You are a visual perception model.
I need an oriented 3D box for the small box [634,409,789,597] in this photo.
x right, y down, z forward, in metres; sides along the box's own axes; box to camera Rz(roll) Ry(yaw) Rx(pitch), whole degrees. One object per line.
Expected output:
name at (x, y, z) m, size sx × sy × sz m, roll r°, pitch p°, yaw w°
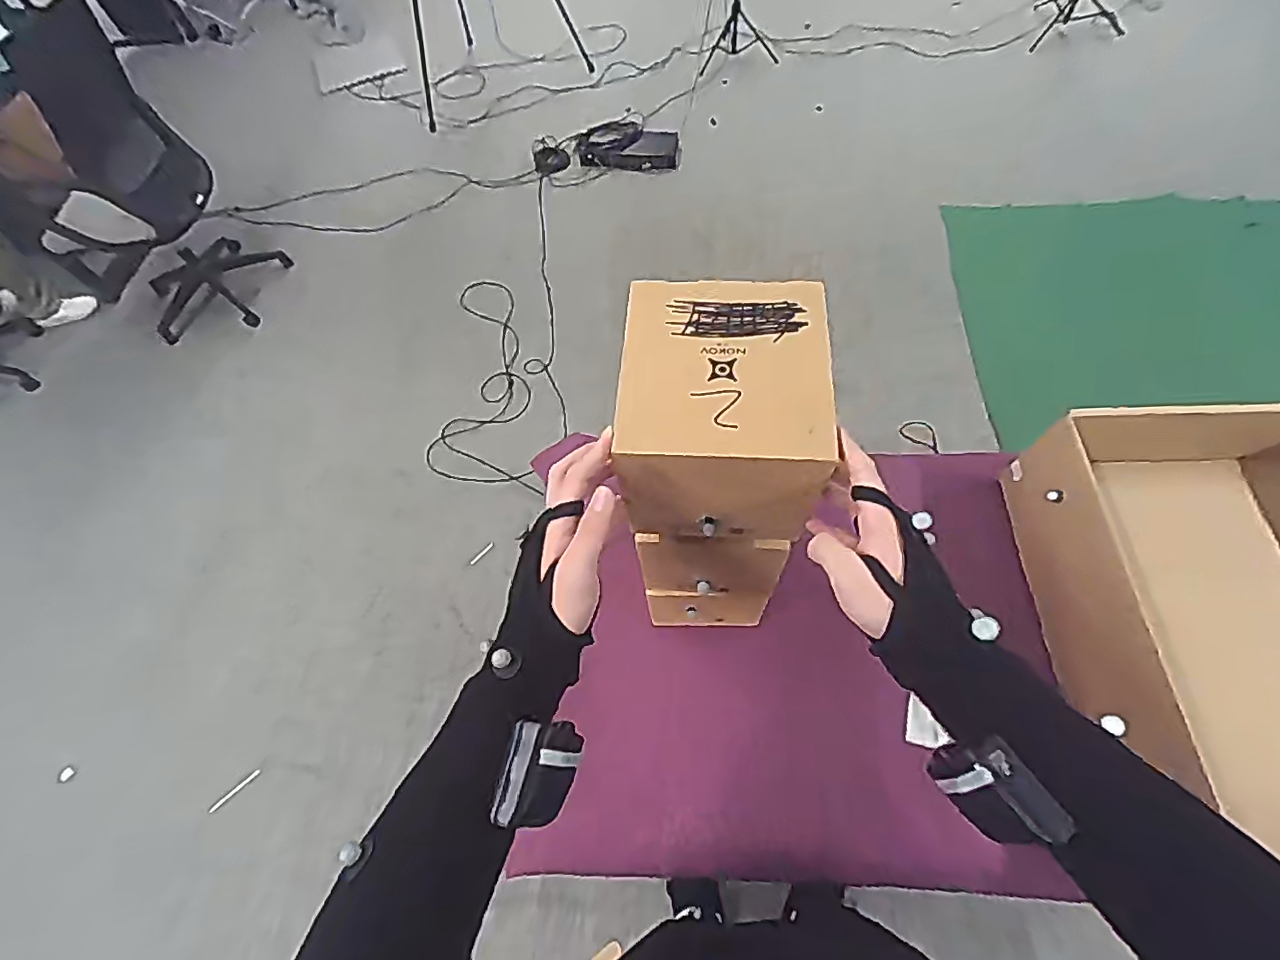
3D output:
small box at (0.089, 0.032, 0.678) m, size 0.168 × 0.176 × 0.179 m, roll 3°, pitch 61°, yaw 8°

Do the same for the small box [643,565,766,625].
small box at (0.097, 0.115, 0.820) m, size 0.168 × 0.176 × 0.179 m, roll -1°, pitch 60°, yaw 5°
